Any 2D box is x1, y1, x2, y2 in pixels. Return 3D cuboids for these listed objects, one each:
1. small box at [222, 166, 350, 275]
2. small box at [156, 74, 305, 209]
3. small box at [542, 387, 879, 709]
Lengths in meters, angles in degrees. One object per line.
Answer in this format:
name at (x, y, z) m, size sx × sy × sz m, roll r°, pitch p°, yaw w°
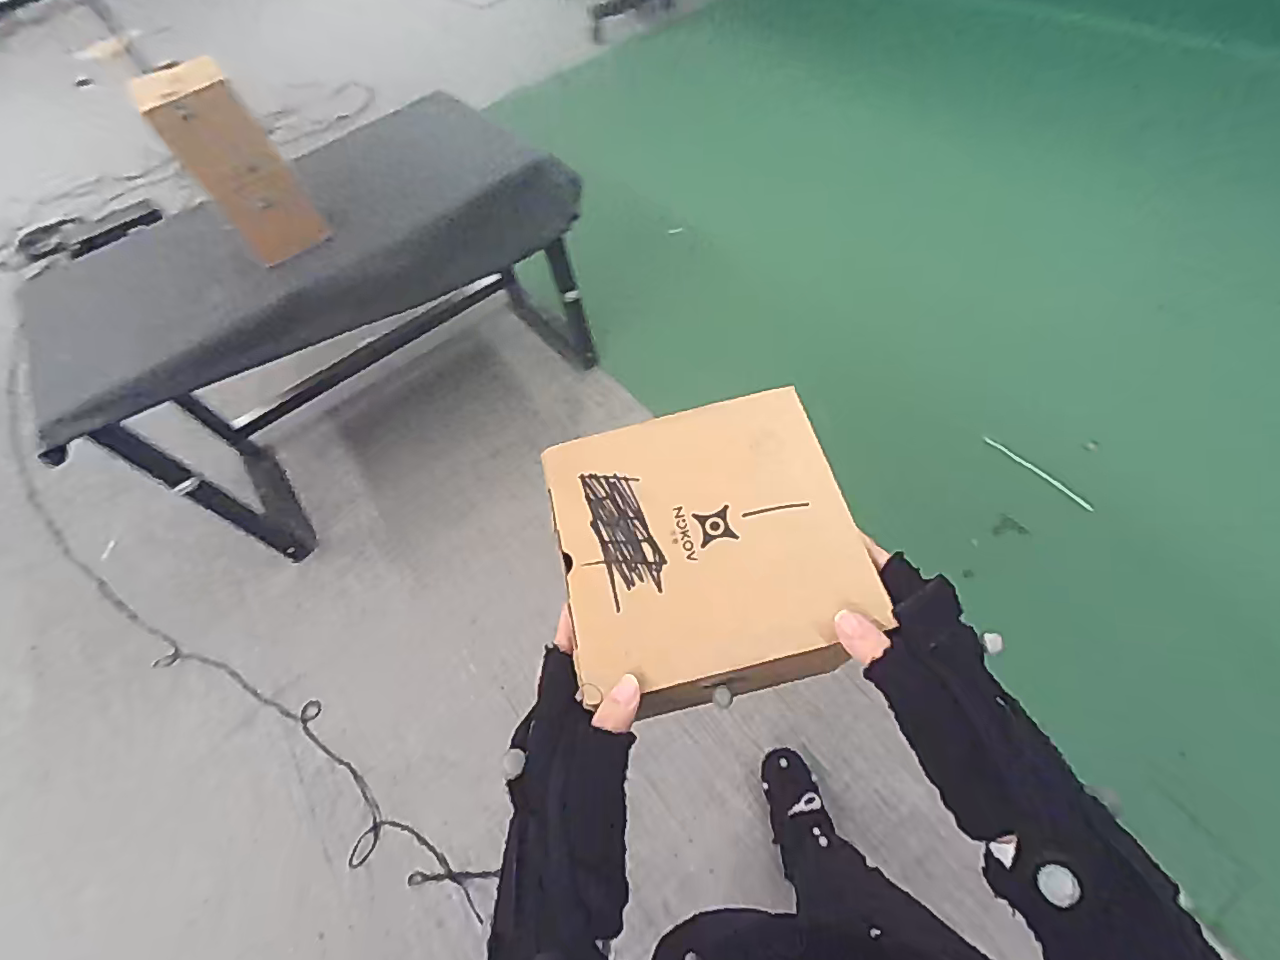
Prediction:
small box at (-0.817, -0.608, 1.252) m, size 0.179 × 0.176 × 0.168 m, roll -34°, pitch 59°, yaw -14°
small box at (-0.838, -0.697, 1.119) m, size 0.168 × 0.176 × 0.179 m, roll -35°, pitch 60°, yaw -15°
small box at (0.042, 0.063, 0.405) m, size 0.179 × 0.176 × 0.168 m, roll -15°, pitch 62°, yaw -1°
